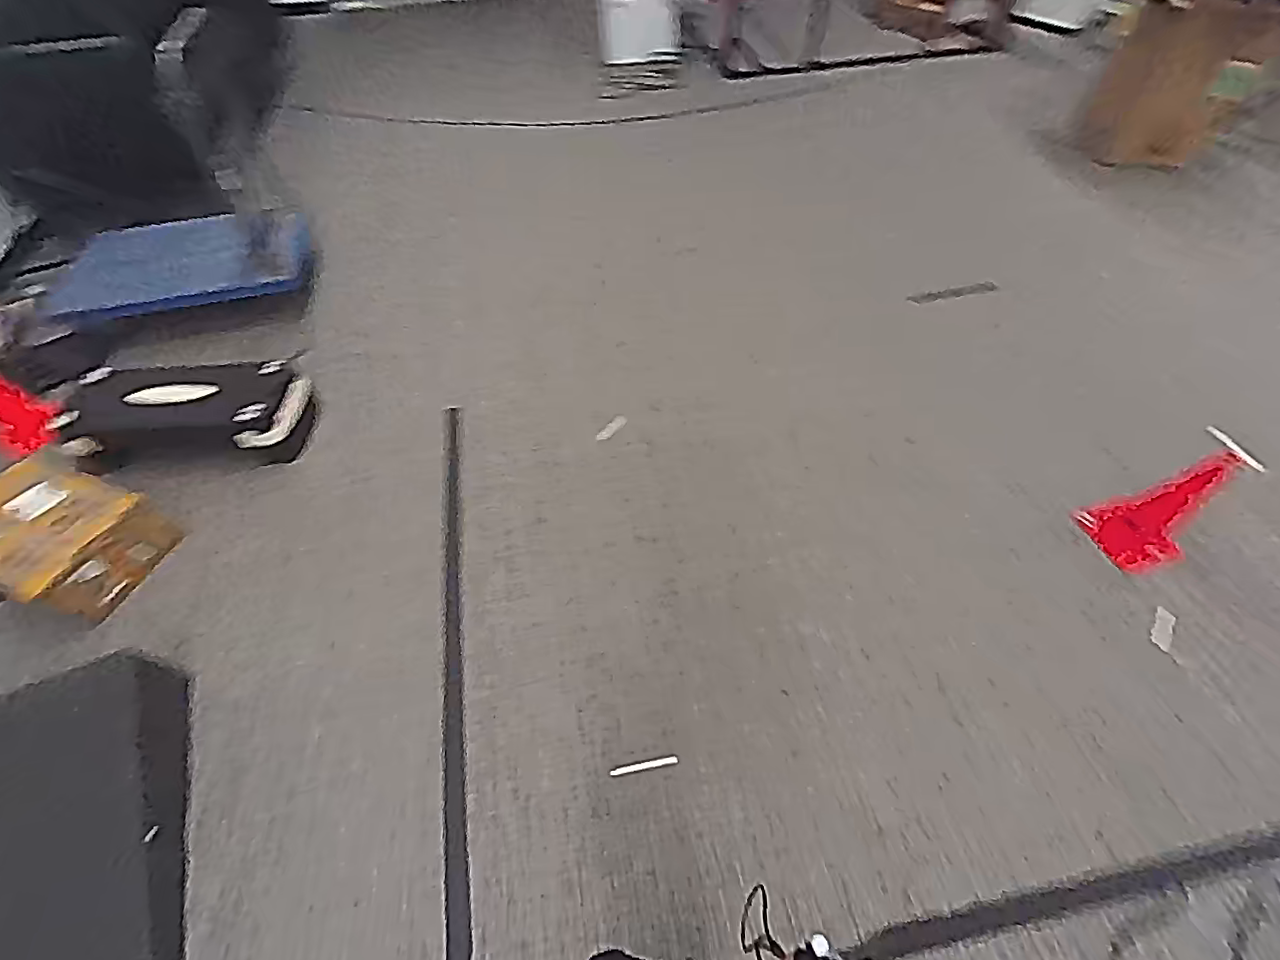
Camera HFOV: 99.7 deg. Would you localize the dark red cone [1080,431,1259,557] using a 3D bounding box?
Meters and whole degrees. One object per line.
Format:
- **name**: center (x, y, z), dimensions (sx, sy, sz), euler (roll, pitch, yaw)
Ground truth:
- **dark red cone**: center (1.359, 0.016, 1.364), dimensions (0.202, 0.394, 0.201), euler (-17, 56, -10)
